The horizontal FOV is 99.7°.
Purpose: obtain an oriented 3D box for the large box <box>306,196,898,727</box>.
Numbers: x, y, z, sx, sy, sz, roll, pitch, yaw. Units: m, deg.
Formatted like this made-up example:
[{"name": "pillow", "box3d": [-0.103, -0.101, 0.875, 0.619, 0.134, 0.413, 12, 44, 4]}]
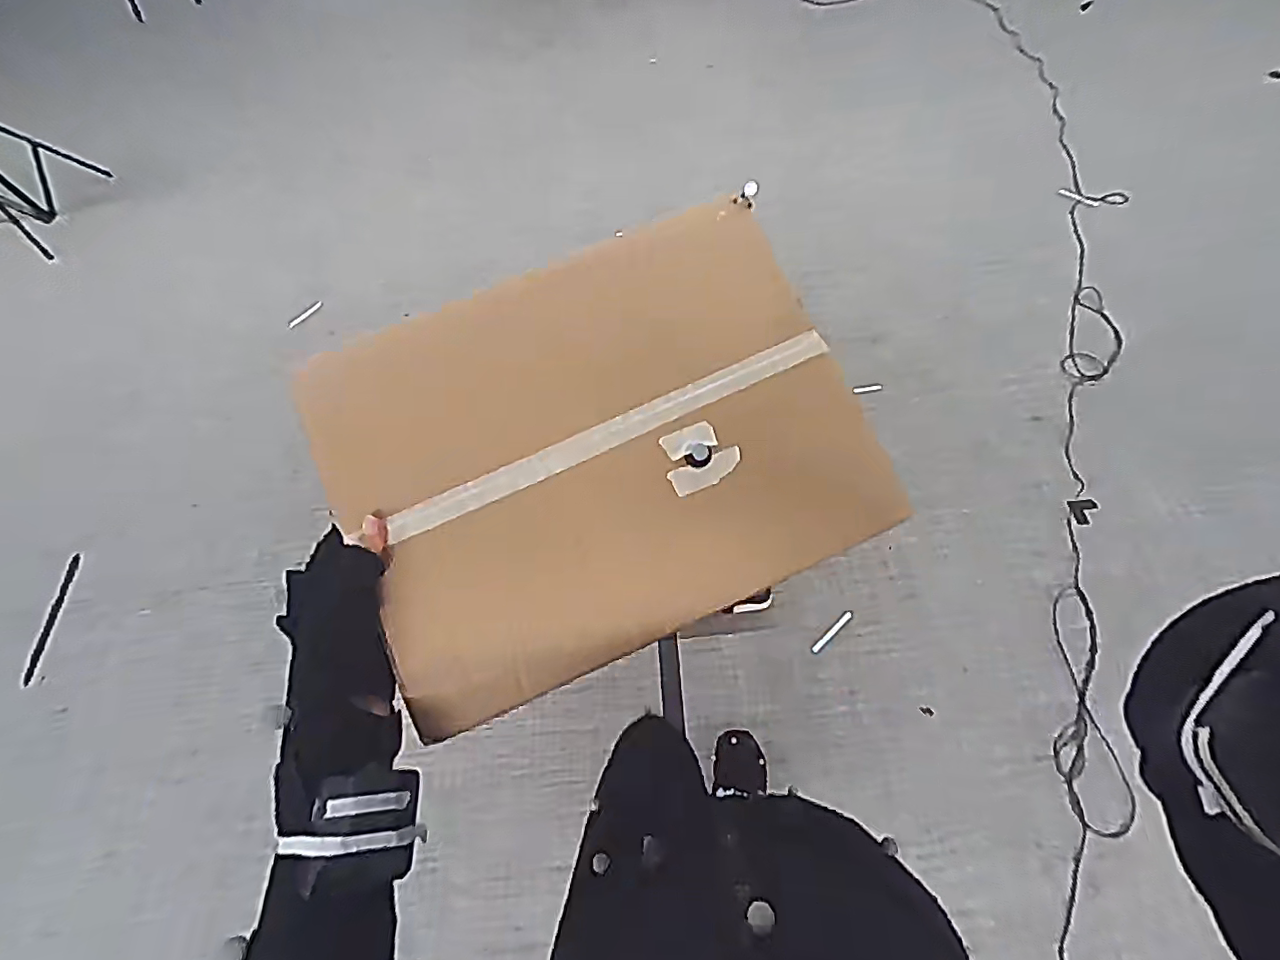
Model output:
[{"name": "large box", "box3d": [-0.037, -0.007, 0.582, 0.408, 0.320, 0.320, -25, 82, -6]}]
